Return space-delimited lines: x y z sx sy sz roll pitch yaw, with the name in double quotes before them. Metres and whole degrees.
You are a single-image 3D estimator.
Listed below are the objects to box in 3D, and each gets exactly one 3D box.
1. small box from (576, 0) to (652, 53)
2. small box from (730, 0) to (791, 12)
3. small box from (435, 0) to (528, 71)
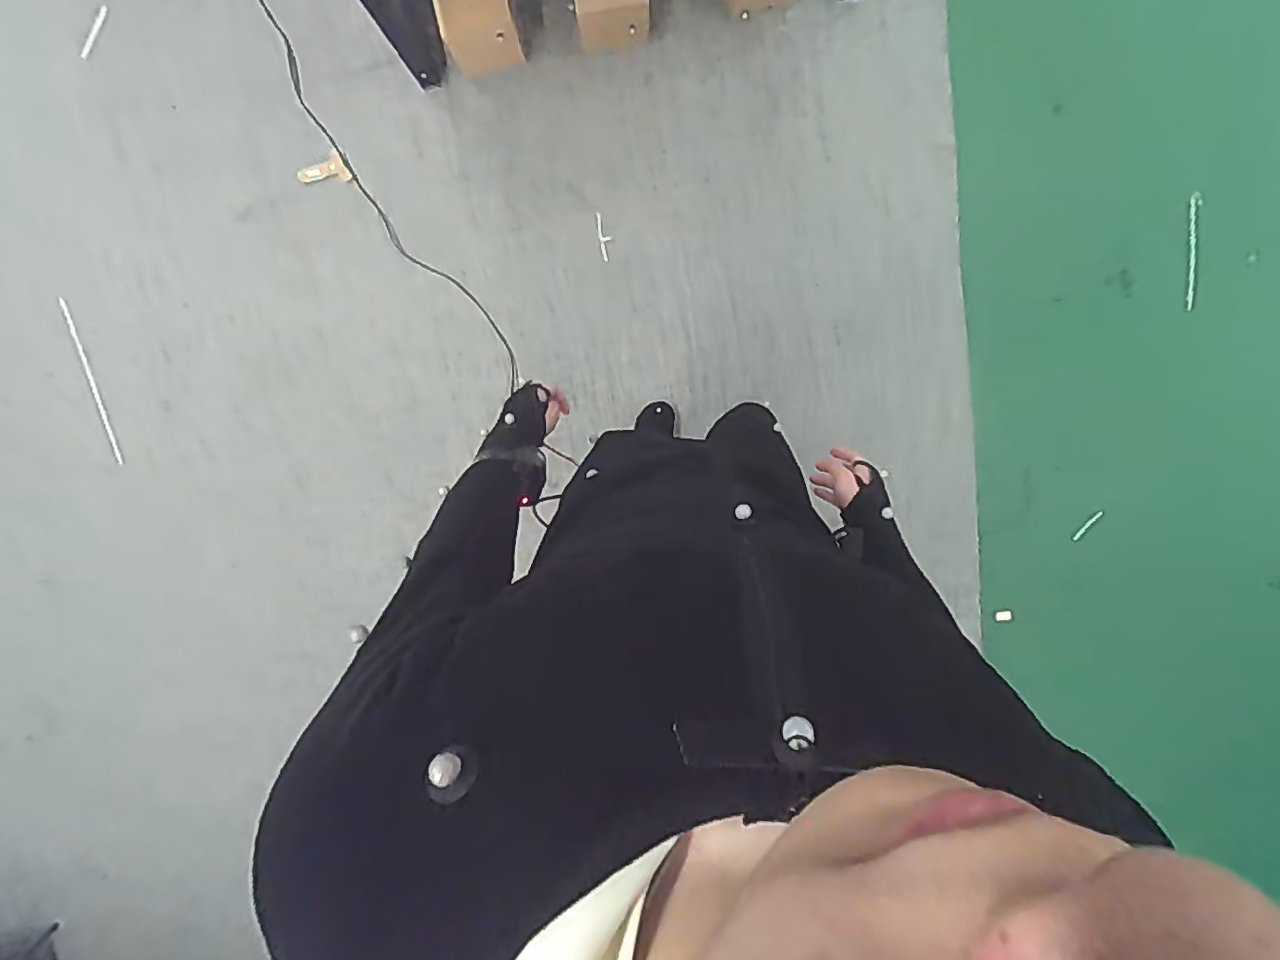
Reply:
"small box" -0.070 -1.196 1.325 0.179 0.176 0.168 -10 99 2
"small box" 0.302 -1.286 1.308 0.168 0.176 0.179 -13 99 2
"small box" -0.393 -1.152 1.333 0.179 0.176 0.168 -11 100 2
